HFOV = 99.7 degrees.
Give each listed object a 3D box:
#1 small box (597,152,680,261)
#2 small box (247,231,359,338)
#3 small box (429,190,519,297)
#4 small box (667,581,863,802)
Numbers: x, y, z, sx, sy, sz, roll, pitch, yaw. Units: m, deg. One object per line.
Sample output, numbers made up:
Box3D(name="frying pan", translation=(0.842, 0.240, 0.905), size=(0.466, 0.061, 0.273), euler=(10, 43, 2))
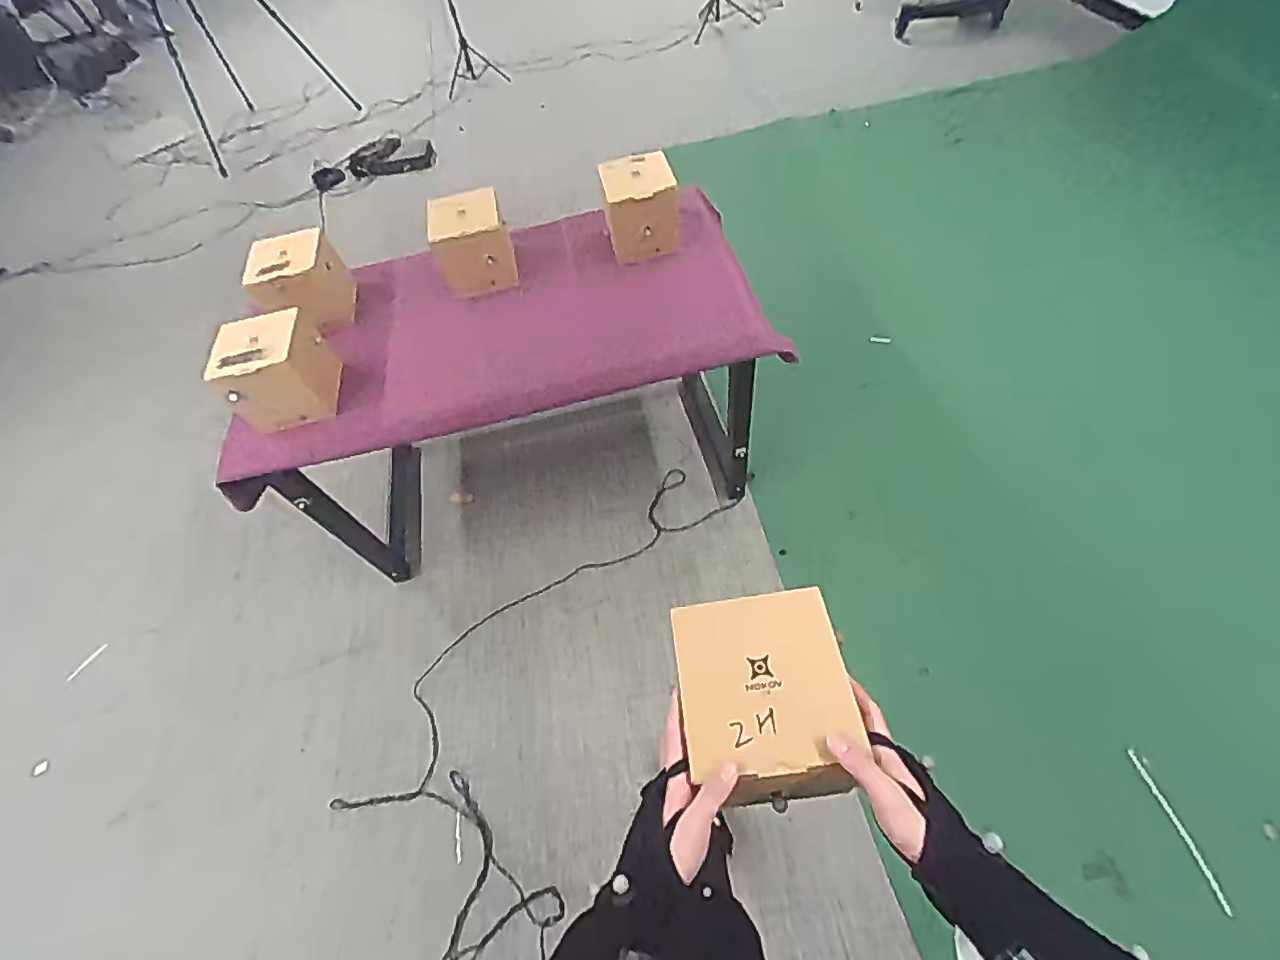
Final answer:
Box3D(name="small box", translation=(-0.001, -0.667, 1.337), size=(0.168, 0.176, 0.179), euler=(-13, 58, 0))
Box3D(name="small box", translation=(-0.817, -0.471, 1.329), size=(0.168, 0.176, 0.179), euler=(-15, 57, -2))
Box3D(name="small box", translation=(-0.407, -0.577, 1.341), size=(0.168, 0.176, 0.179), euler=(-14, 57, -1))
Box3D(name="small box", translation=(0.128, 0.238, 0.601), size=(0.168, 0.176, 0.179), euler=(-11, 50, 6))
